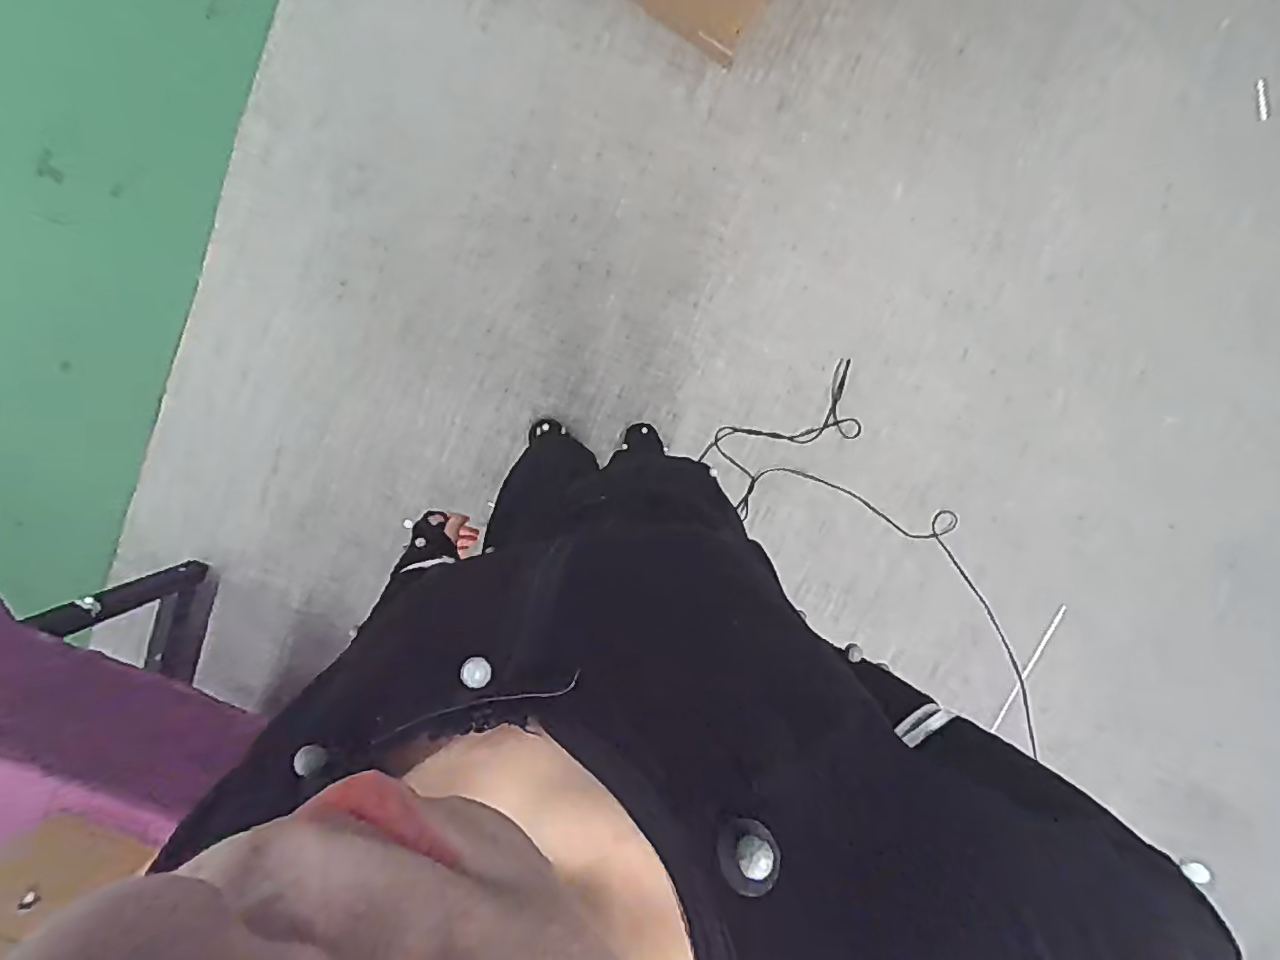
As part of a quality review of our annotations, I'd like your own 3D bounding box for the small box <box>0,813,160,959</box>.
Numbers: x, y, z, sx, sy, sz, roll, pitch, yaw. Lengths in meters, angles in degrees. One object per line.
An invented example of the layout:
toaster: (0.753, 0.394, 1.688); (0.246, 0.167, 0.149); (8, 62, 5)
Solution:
small box: (-0.865, 0.632, 0.787); (0.179, 0.176, 0.168); (23, 98, -2)
